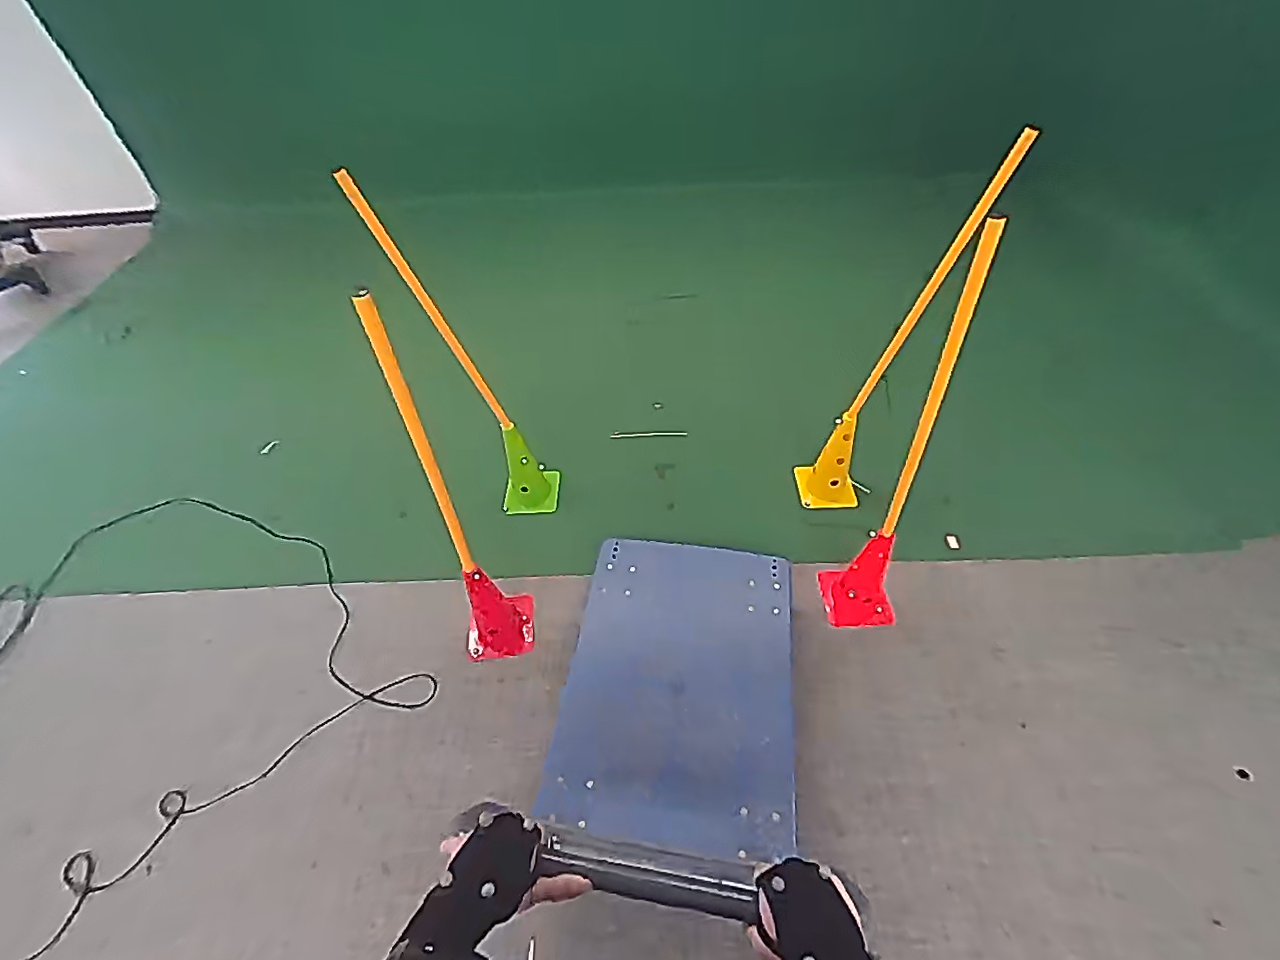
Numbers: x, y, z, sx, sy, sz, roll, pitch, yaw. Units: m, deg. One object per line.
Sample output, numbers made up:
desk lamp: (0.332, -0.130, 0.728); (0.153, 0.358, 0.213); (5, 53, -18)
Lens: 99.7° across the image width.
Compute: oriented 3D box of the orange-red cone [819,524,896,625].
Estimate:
orange-red cone: (0.666, 0.247, 1.563); (0.198, 0.360, 0.199); (-2, 48, 1)

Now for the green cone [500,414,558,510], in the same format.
green cone: (-0.425, -0.081, 1.907); (0.200, 0.368, 0.202); (-3, 48, 2)
